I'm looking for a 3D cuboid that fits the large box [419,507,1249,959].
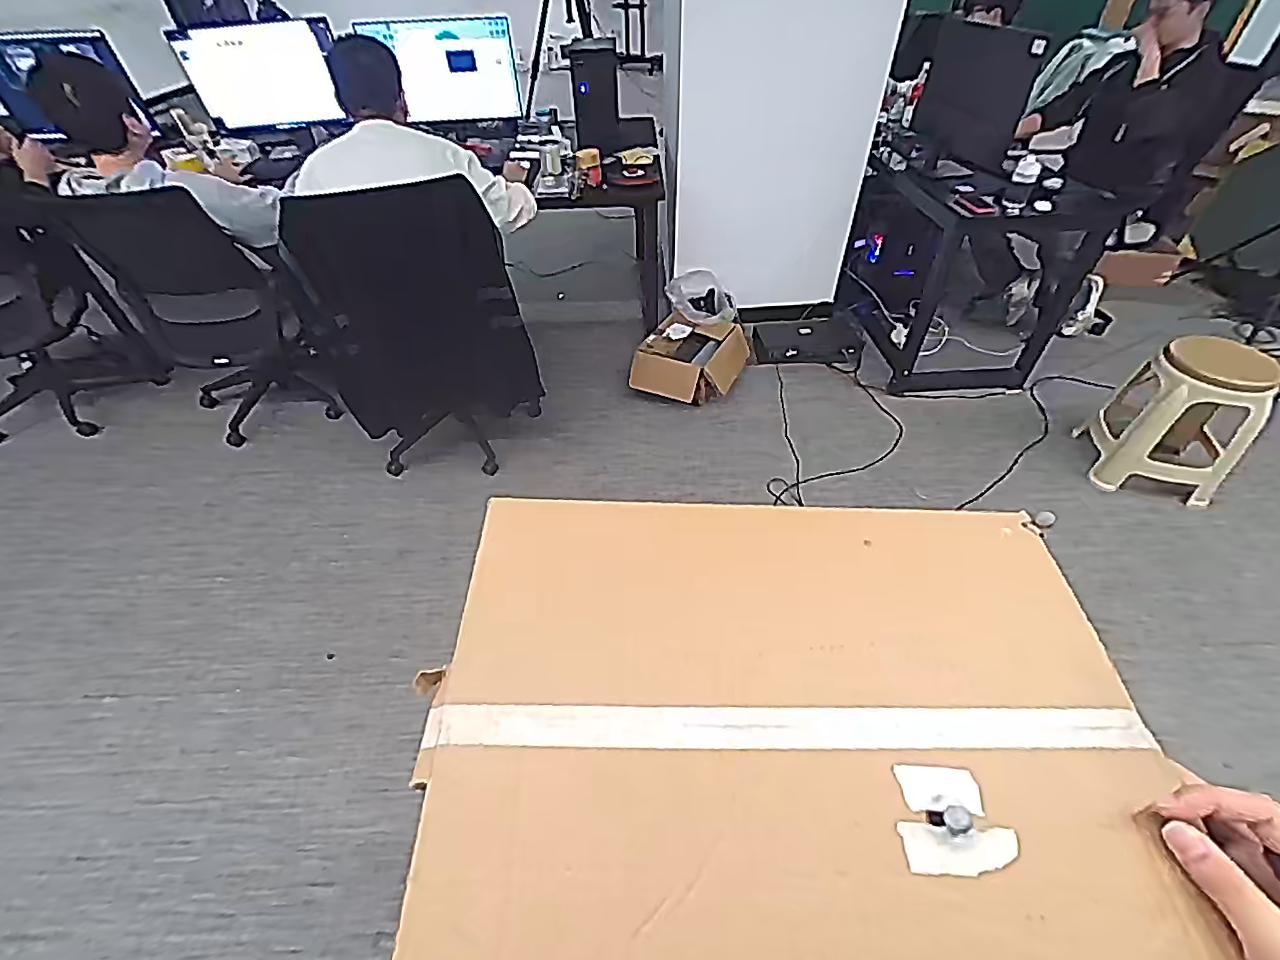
[{"bbox_3d":[0.085,0.238,0.433,0.408,0.320,0.320,2,52,-3],"label":"large box"}]
